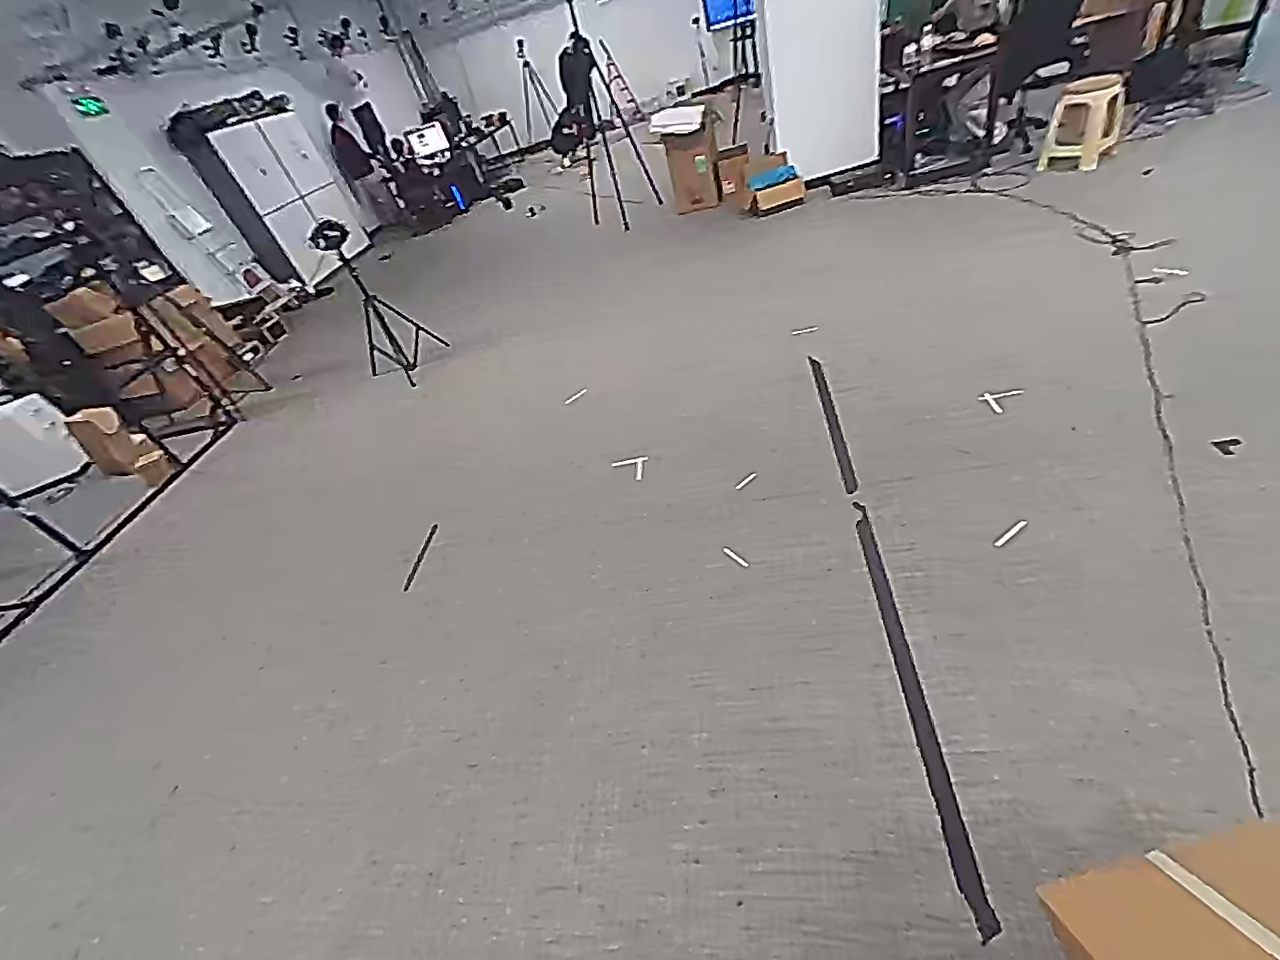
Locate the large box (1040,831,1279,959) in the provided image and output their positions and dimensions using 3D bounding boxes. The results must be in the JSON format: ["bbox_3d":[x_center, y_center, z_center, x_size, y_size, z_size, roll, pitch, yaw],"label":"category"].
[{"bbox_3d":[0.689,0.617,0.485,0.320,0.408,0.320,-24,82,7],"label":"large box"}]
